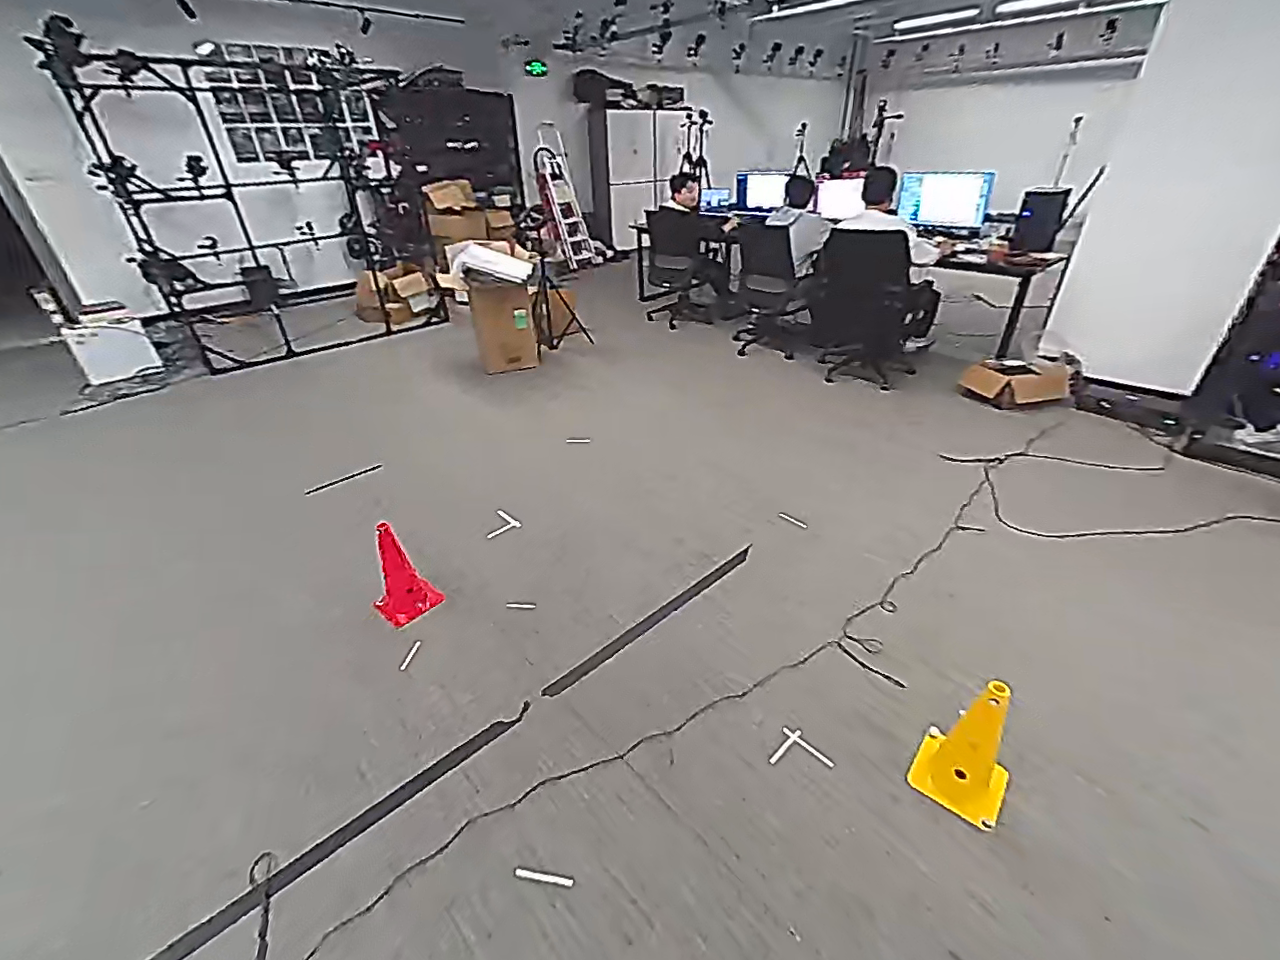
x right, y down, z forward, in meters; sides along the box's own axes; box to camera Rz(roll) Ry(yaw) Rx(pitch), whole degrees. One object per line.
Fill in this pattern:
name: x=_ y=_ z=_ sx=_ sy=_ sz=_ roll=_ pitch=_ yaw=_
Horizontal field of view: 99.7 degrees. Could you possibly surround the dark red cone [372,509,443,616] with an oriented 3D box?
dark red cone: x=-0.867 y=0.275 z=1.923 sx=0.201 sy=0.394 sz=0.202 roll=24 pitch=40 yaw=34
